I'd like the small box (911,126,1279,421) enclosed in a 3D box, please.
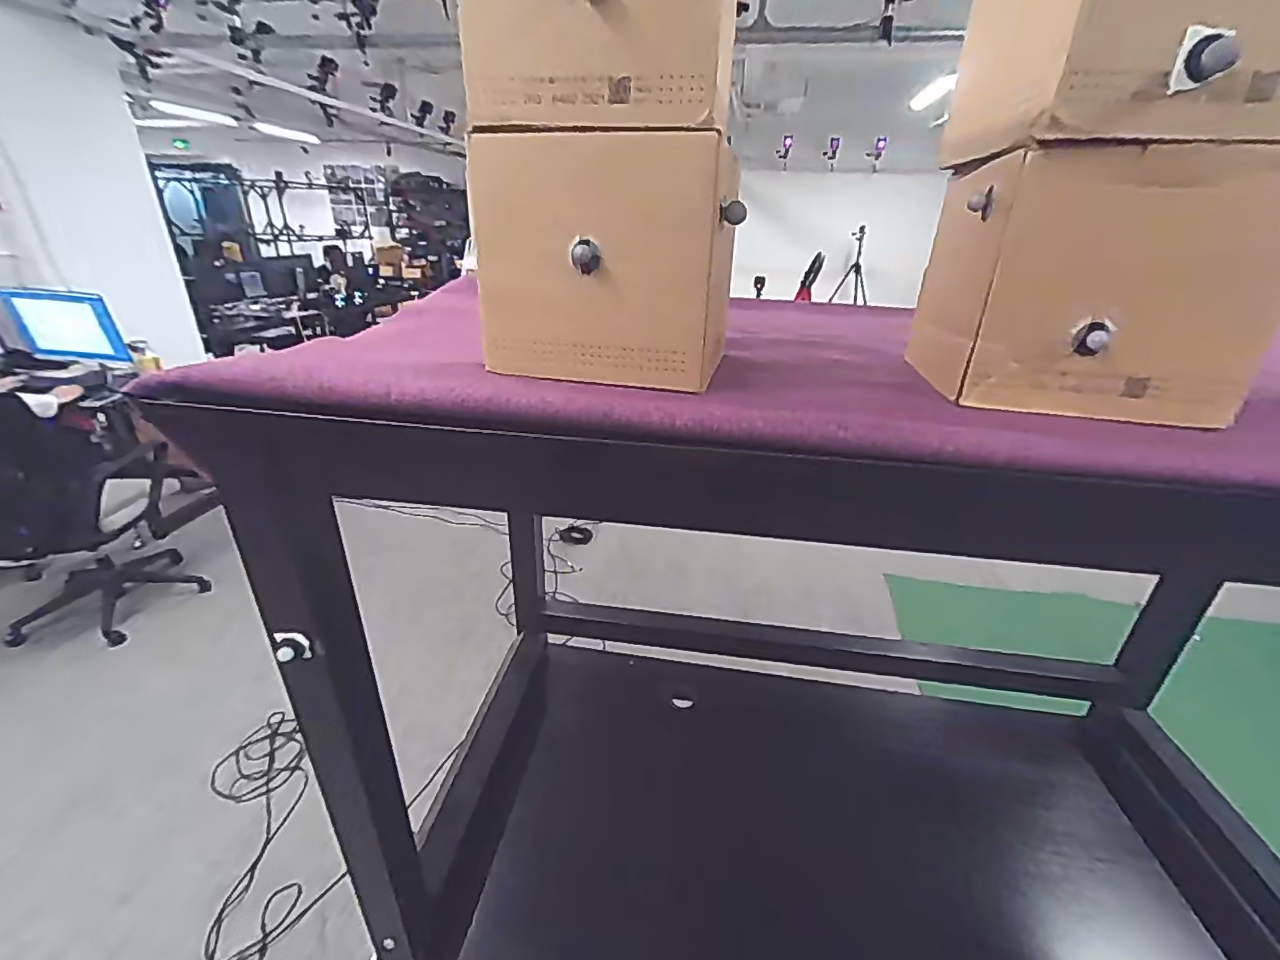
[{"bbox_3d":[0.325,-0.155,0.411,0.168,0.176,0.179,7,25,12],"label":"small box"}]

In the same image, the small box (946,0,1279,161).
[{"bbox_3d":[0.322,-0.301,0.341,0.168,0.176,0.179,3,26,7],"label":"small box"}]

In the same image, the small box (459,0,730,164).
[{"bbox_3d":[-0.021,-0.337,0.391,0.168,0.176,0.179,5,25,9],"label":"small box"}]
